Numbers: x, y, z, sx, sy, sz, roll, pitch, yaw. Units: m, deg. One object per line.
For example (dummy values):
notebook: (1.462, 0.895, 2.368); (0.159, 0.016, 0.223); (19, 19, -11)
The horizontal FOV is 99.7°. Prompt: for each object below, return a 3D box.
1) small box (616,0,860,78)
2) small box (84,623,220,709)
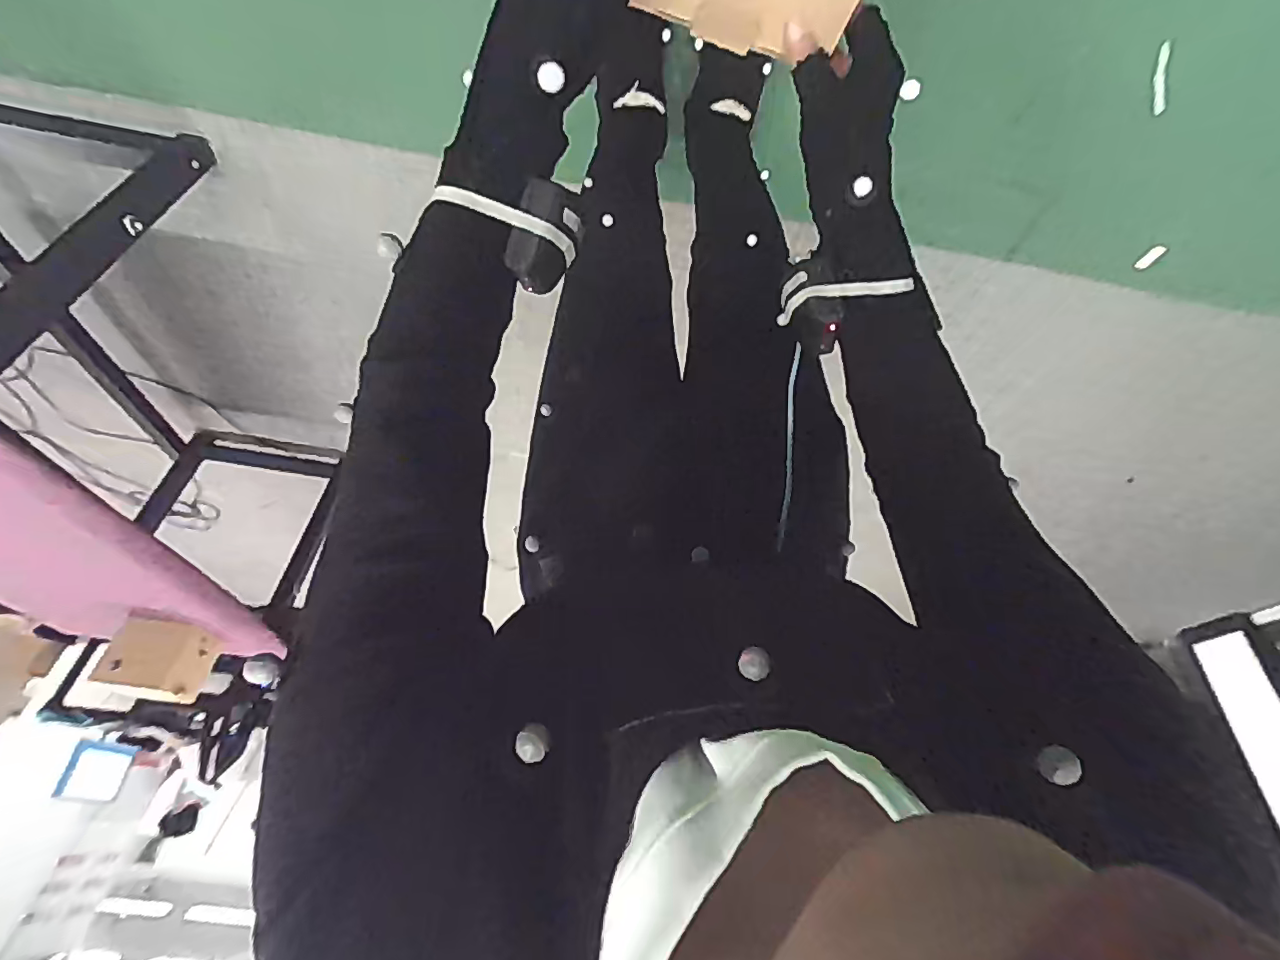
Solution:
small box: (0.081, -0.426, 0.358); (0.168, 0.176, 0.179); (8, 151, -14)
small box: (-1.275, 0.490, 1.430); (0.179, 0.176, 0.168); (9, 145, -4)
